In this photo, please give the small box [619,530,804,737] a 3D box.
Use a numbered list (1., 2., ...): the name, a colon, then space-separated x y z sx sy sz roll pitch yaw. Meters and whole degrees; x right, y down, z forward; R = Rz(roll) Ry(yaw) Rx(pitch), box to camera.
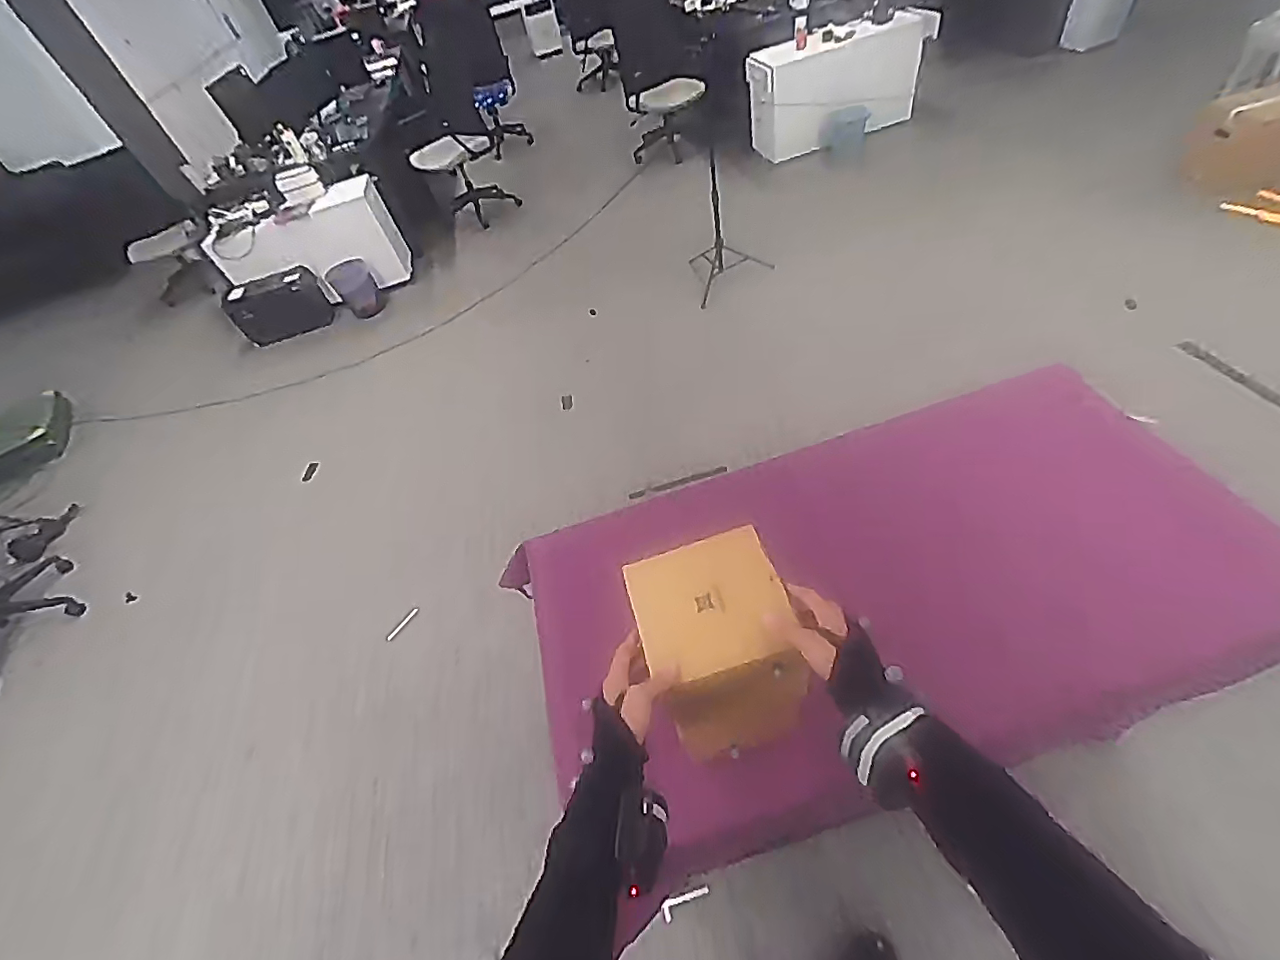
1. small box: 0.091 0.196 0.673 0.179 0.176 0.168 -19 49 0
